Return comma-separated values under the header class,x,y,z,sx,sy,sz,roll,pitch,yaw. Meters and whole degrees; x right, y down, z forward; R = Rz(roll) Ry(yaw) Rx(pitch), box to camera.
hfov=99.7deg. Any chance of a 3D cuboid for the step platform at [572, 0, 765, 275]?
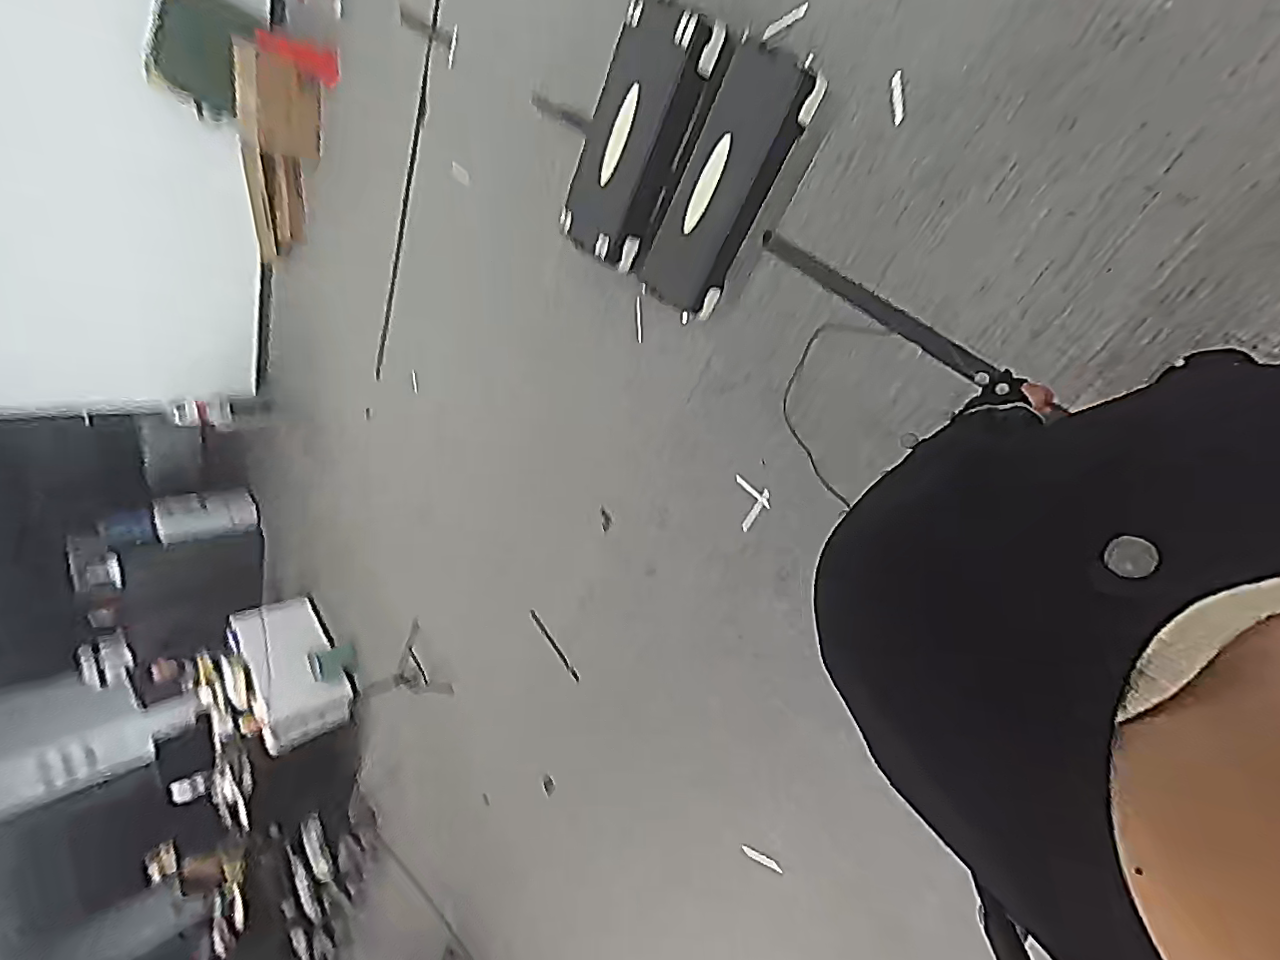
class,x,y,z,sx,sy,sz,roll,pitch,yaw
step platform,0.053,-0.978,1.607,0.286,0.204,0.684,51,126,25
